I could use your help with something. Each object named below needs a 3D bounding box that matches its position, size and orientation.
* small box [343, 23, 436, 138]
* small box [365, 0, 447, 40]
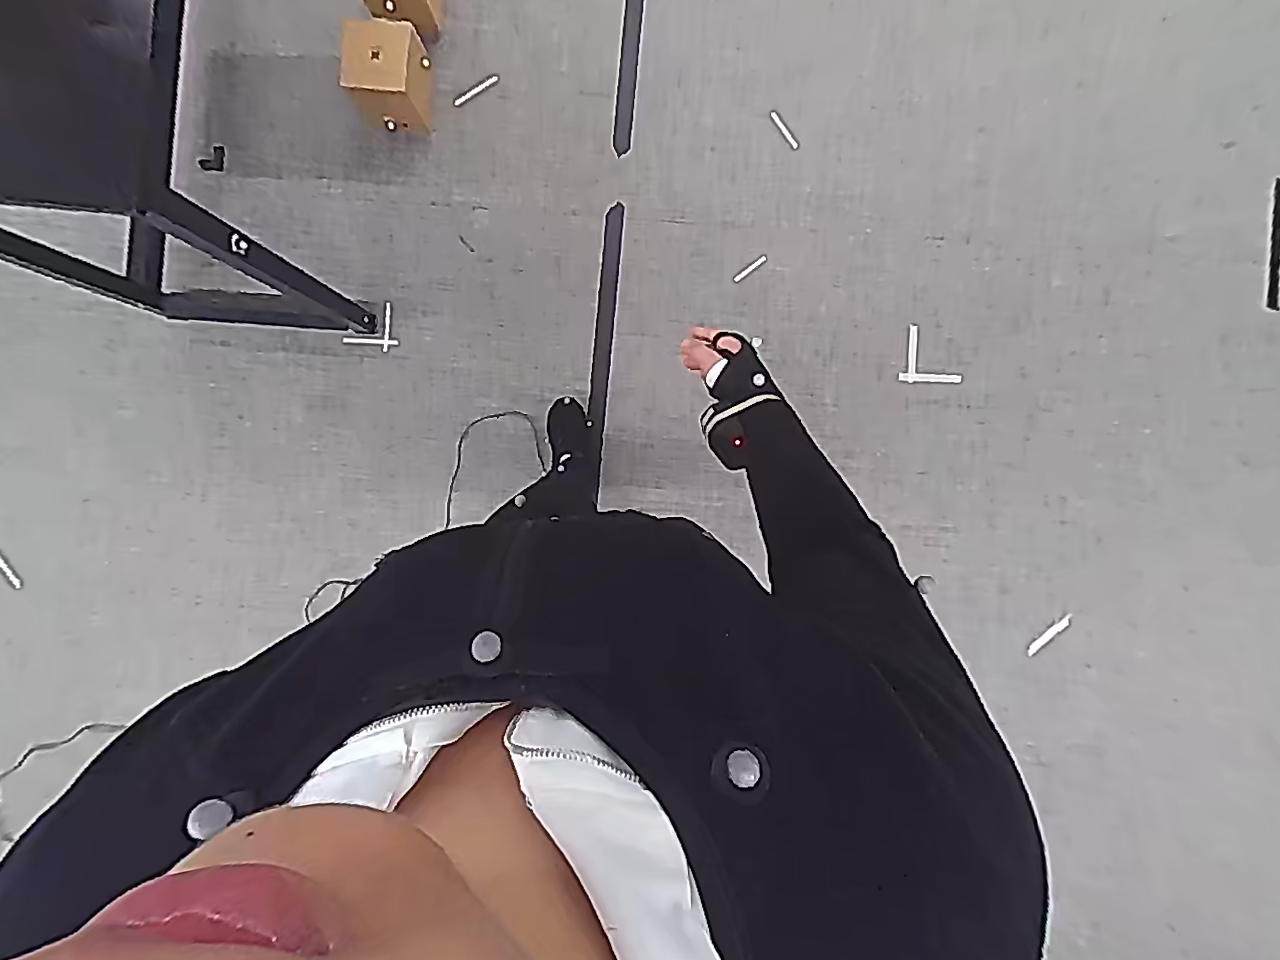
[{"bbox_3d":[-0.651,-1.044,1.423,0.168,0.176,0.179,4,91,1],"label":"small box"},{"bbox_3d":[-0.626,-1.306,1.421,0.179,0.176,0.168,4,91,0],"label":"small box"}]
